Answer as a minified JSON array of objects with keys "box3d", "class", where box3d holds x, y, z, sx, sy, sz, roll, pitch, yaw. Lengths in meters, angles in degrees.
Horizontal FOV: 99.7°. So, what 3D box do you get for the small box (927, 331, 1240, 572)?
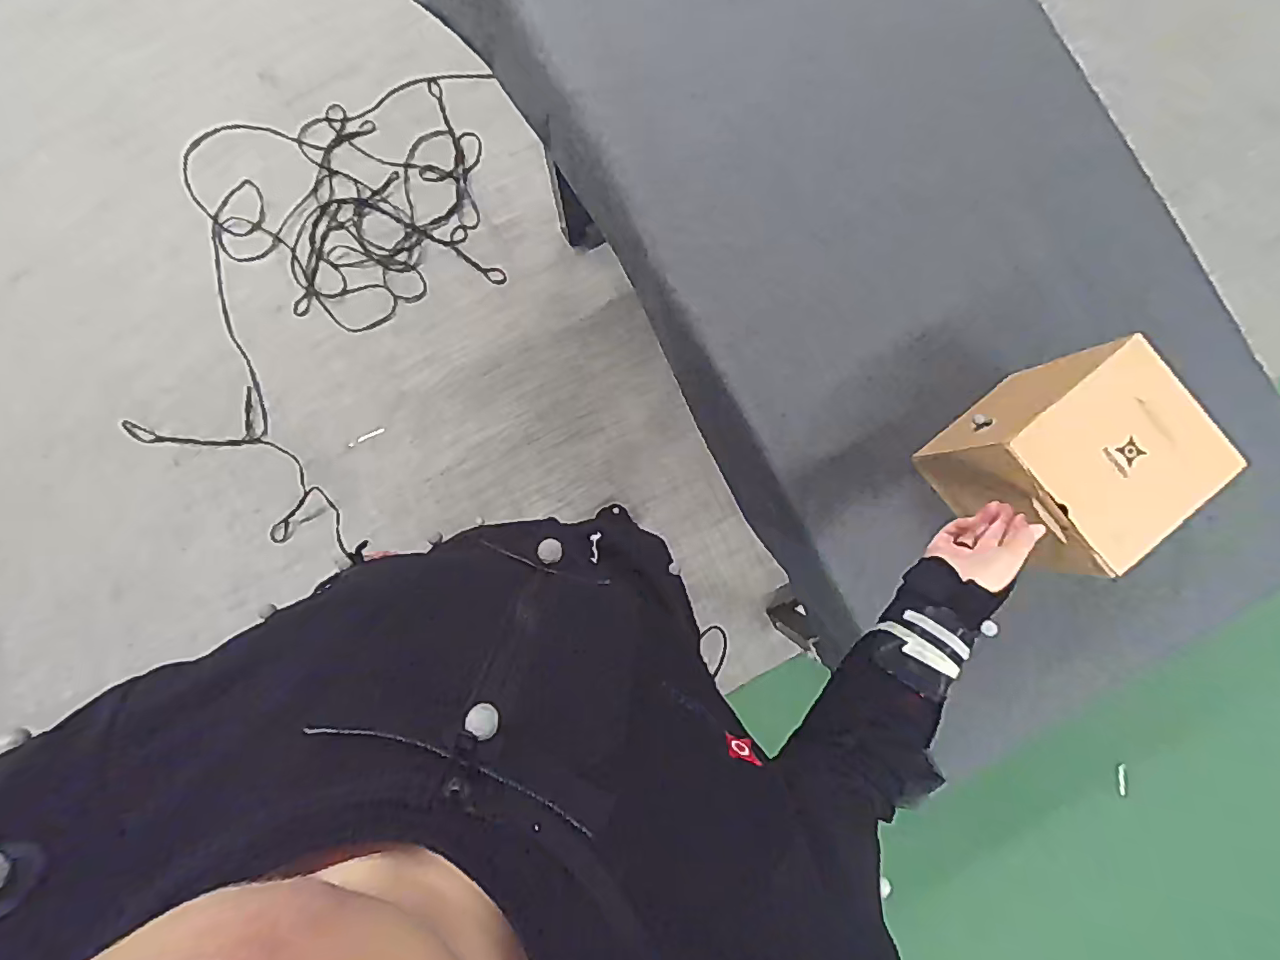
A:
[{"box3d":[0.451,-0.024,0.589,0.179,0.176,0.168,-39,90,-5],"class":"small box"}]
